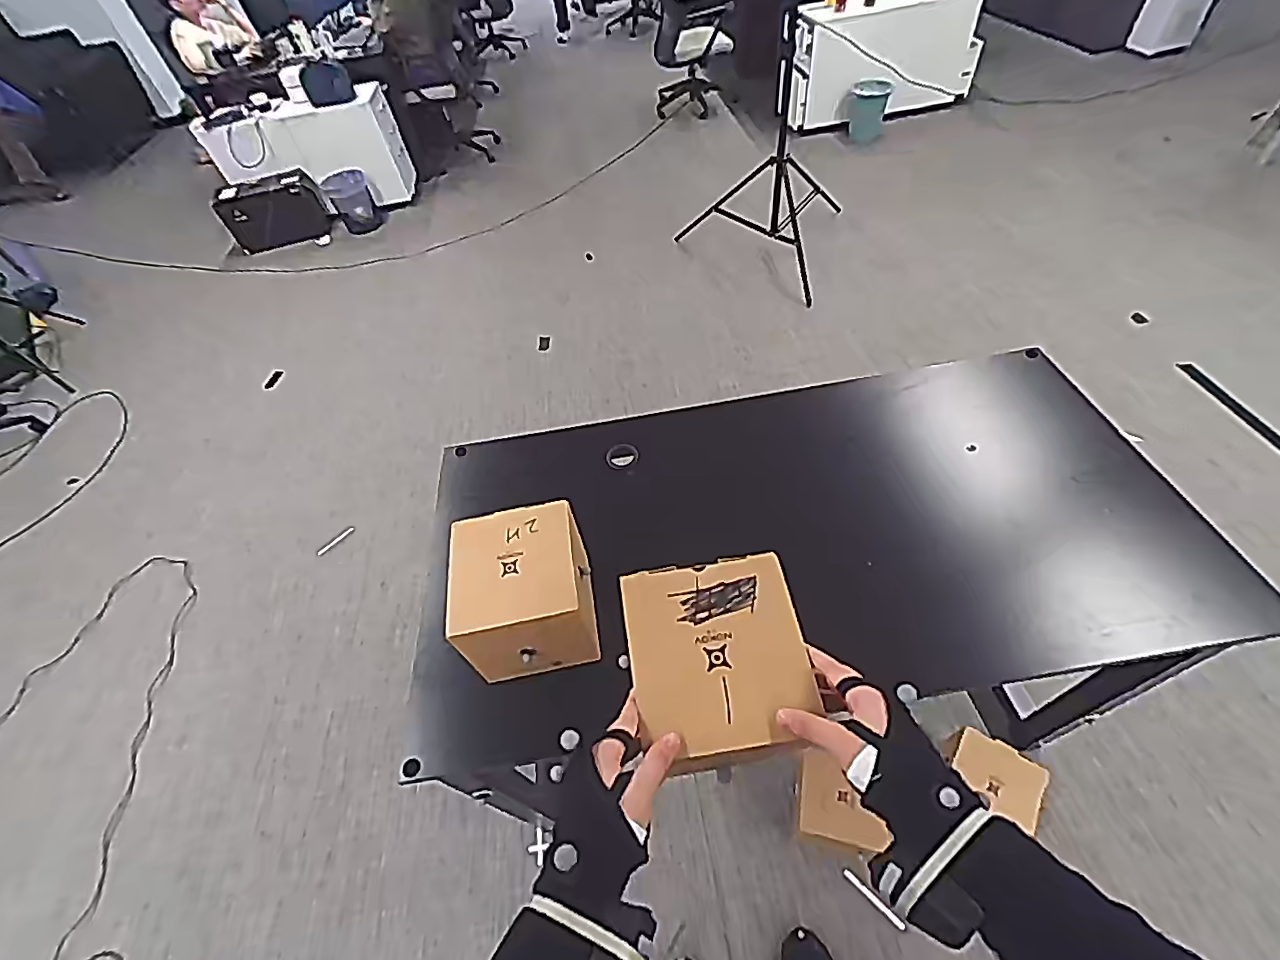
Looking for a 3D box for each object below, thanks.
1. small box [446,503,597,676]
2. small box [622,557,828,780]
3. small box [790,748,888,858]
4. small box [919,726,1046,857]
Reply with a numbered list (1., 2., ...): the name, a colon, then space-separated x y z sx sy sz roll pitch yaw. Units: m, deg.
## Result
1. small box: -0.161 0.163 0.770 0.168 0.176 0.179 -11 50 -2
2. small box: 0.076 0.205 0.576 0.168 0.176 0.179 -9 57 -1
3. small box: 0.432 0.712 1.189 0.179 0.176 0.168 6 52 14
4. small box: 0.733 0.675 1.171 0.168 0.176 0.179 26 60 26
